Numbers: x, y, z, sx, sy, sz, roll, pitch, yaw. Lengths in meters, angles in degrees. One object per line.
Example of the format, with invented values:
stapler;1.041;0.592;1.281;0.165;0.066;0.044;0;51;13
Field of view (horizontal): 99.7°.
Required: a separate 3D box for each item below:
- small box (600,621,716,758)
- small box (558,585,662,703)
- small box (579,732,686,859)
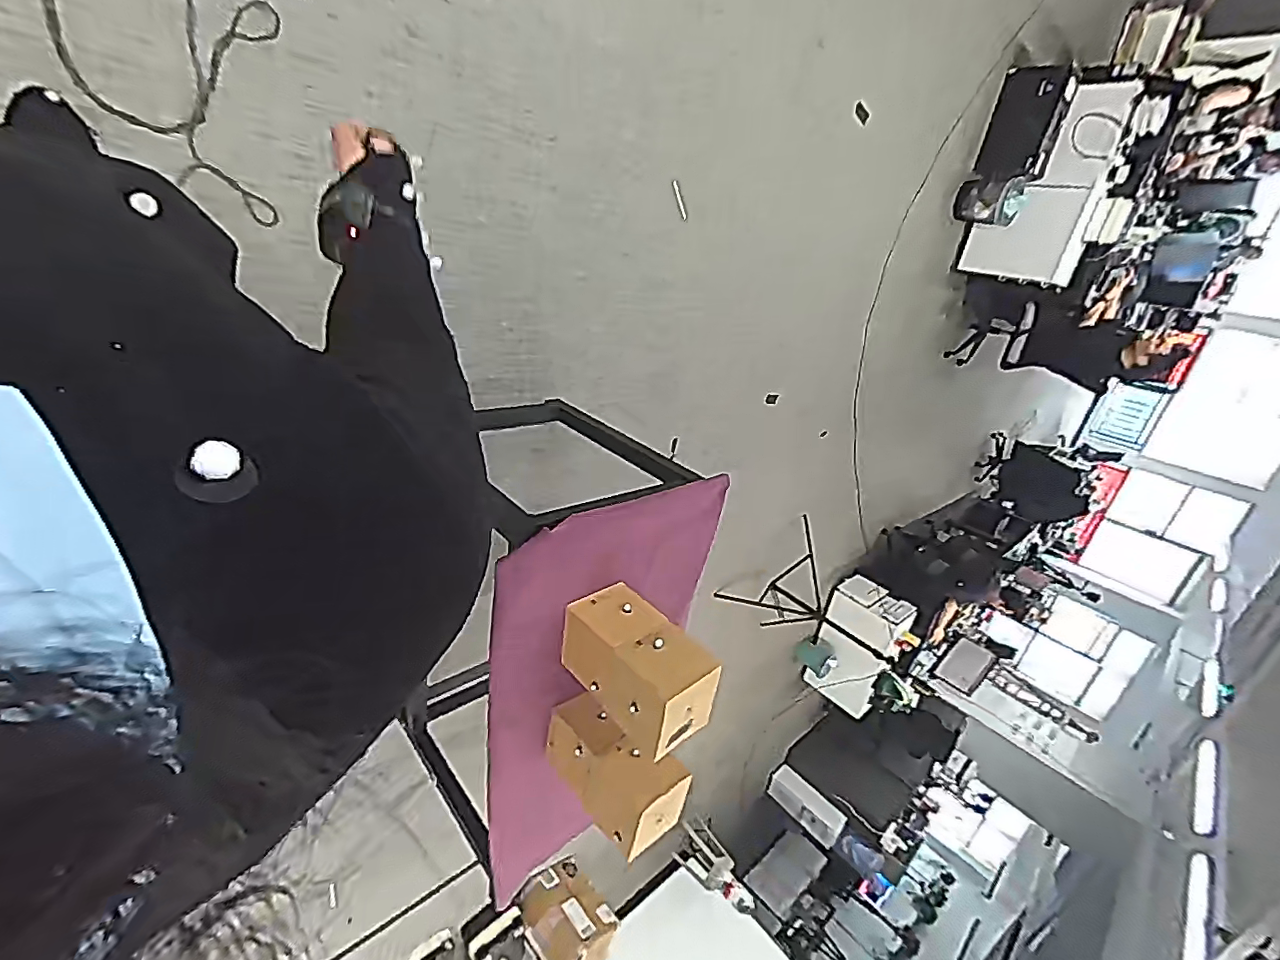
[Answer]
small box;0.032;0.435;1.148;0.168;0.176;0.179;-16;125;-41
small box;-0.075;0.366;1.252;0.168;0.176;0.179;-16;125;-40
small box;-0.023;0.722;1.269;0.168;0.176;0.179;-10;121;-44
